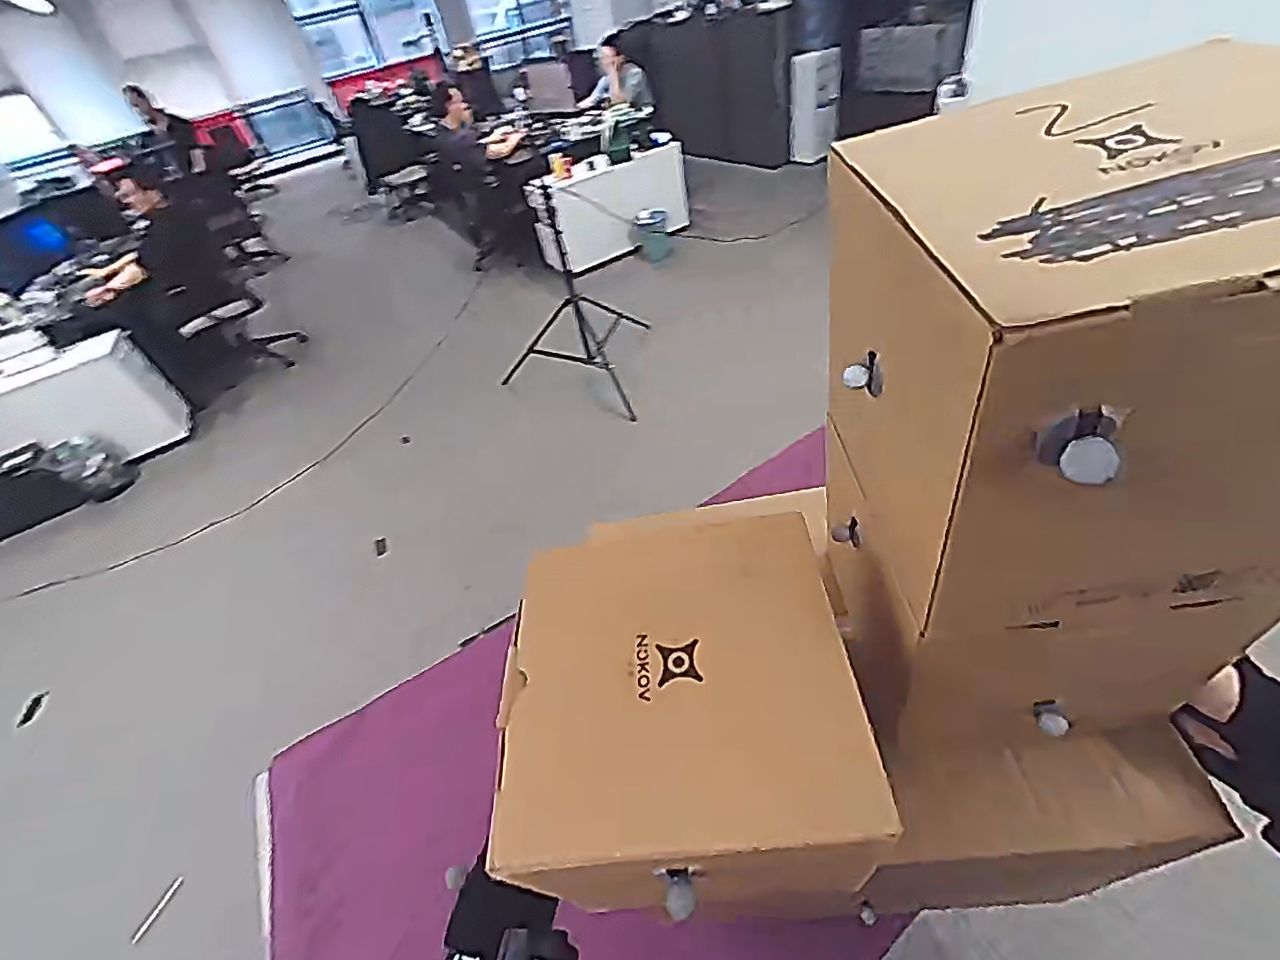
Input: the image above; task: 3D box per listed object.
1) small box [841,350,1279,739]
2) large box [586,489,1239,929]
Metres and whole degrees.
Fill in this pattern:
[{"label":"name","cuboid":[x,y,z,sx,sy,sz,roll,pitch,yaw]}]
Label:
[{"label":"small box","cuboid":[0.236,0.046,0.354,0.168,0.176,0.179,-10,46,10]},{"label":"large box","cuboid":[0.186,0.229,0.544,0.408,0.320,0.320,-11,44,8]}]
